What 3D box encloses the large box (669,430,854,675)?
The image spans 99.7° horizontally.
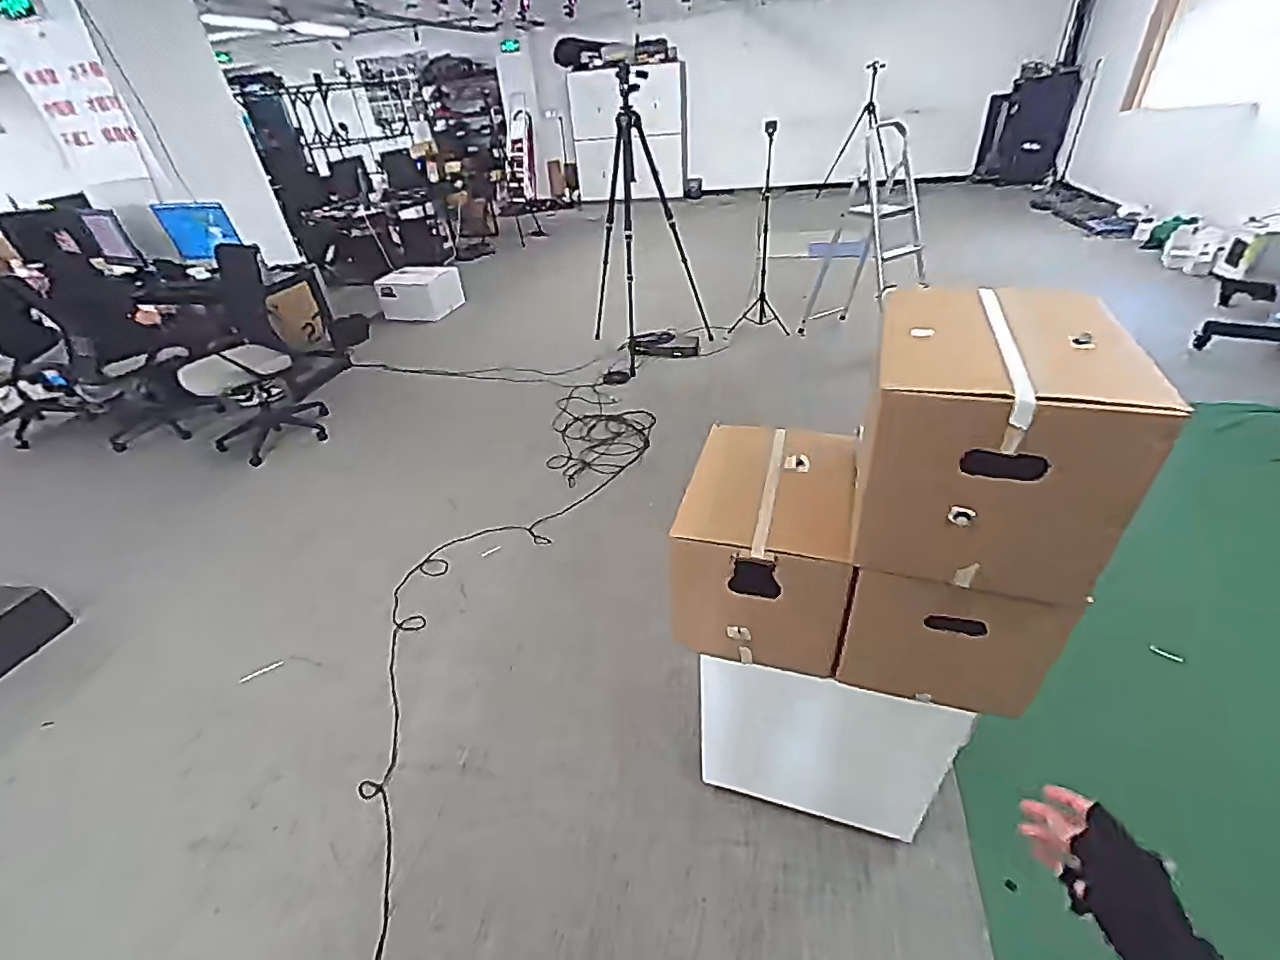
[{"bbox_3d":[0.263,0.133,1.140,0.320,0.320,0.408,7,36,17],"label":"large box"}]
